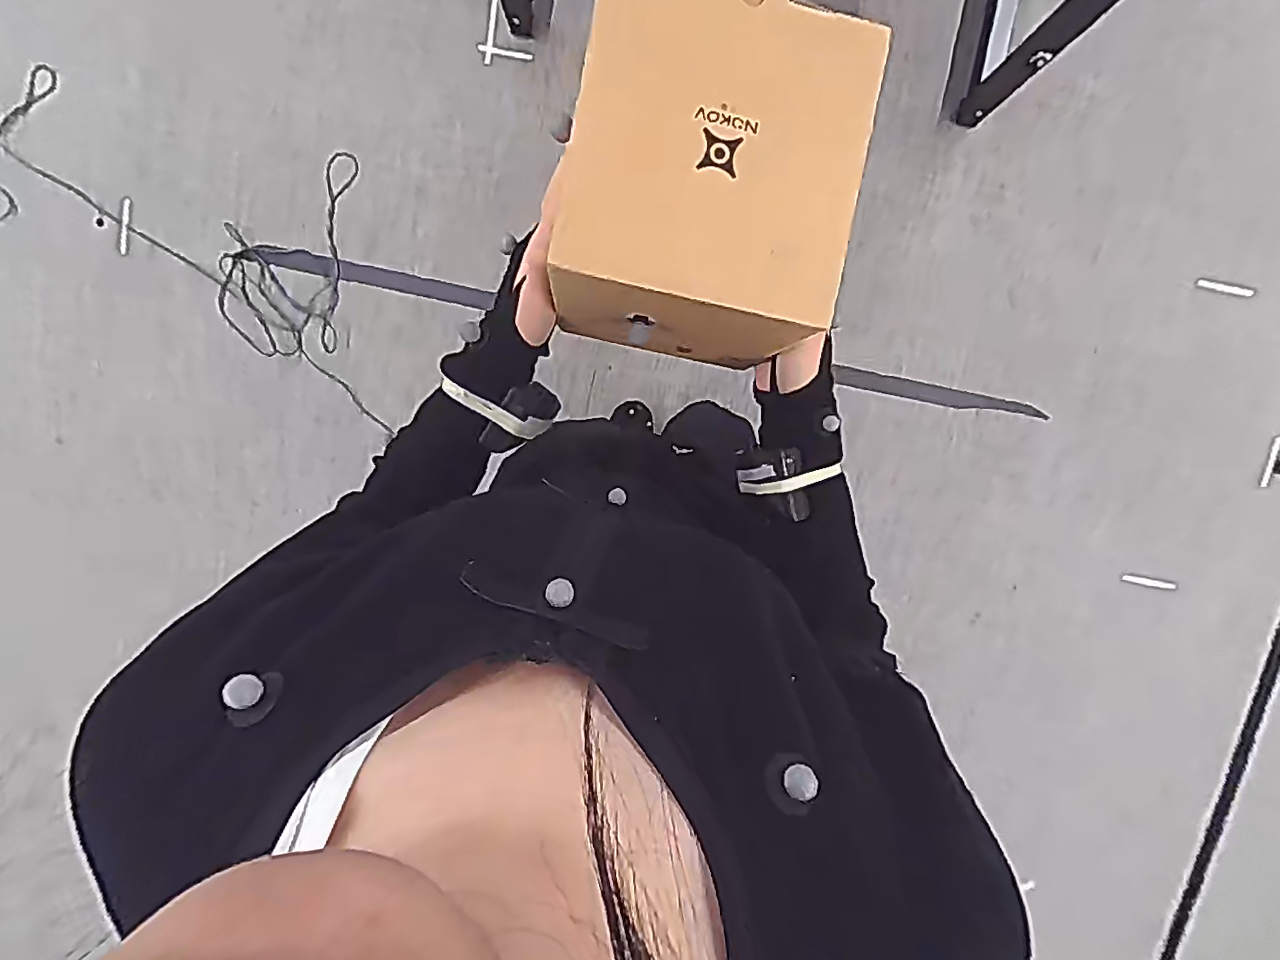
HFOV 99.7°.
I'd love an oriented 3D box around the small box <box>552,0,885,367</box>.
[{"bbox_3d":[0.039,-0.189,0.386,0.168,0.176,0.179,11,91,-6],"label":"small box"}]
